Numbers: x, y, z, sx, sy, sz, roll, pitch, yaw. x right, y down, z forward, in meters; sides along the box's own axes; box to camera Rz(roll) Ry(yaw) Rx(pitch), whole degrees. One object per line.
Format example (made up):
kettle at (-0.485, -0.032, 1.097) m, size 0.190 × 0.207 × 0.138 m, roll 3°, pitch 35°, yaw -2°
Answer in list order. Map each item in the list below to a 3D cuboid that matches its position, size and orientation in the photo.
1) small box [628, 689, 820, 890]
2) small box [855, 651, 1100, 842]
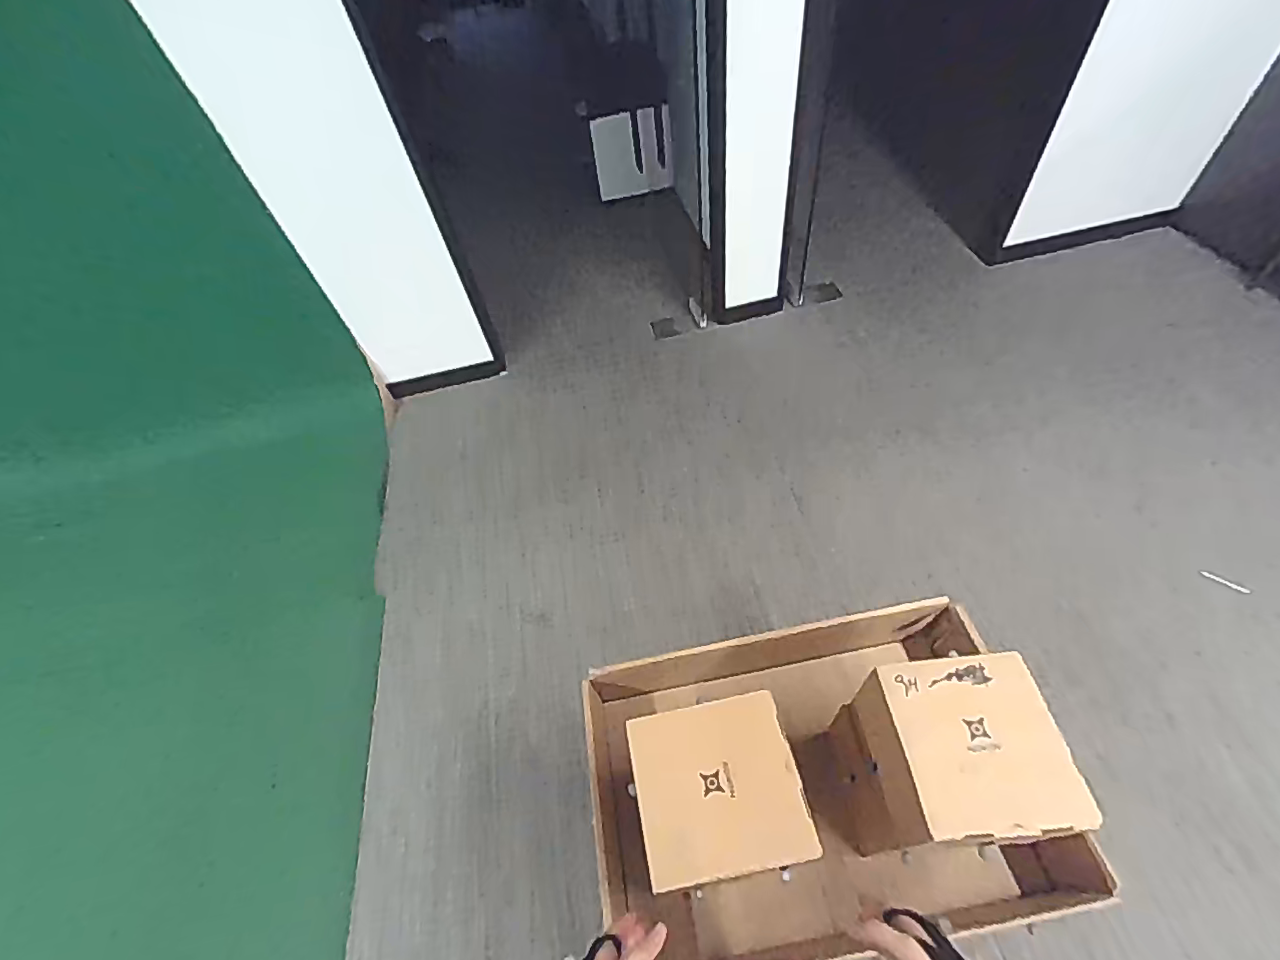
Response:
small box at (0.094, 0.374, 0.648) m, size 0.179 × 0.176 × 0.168 m, roll -12°, pitch 52°, yaw -1°
small box at (0.371, 0.320, 0.639) m, size 0.168 × 0.176 × 0.179 m, roll -7°, pitch 53°, yaw 5°
